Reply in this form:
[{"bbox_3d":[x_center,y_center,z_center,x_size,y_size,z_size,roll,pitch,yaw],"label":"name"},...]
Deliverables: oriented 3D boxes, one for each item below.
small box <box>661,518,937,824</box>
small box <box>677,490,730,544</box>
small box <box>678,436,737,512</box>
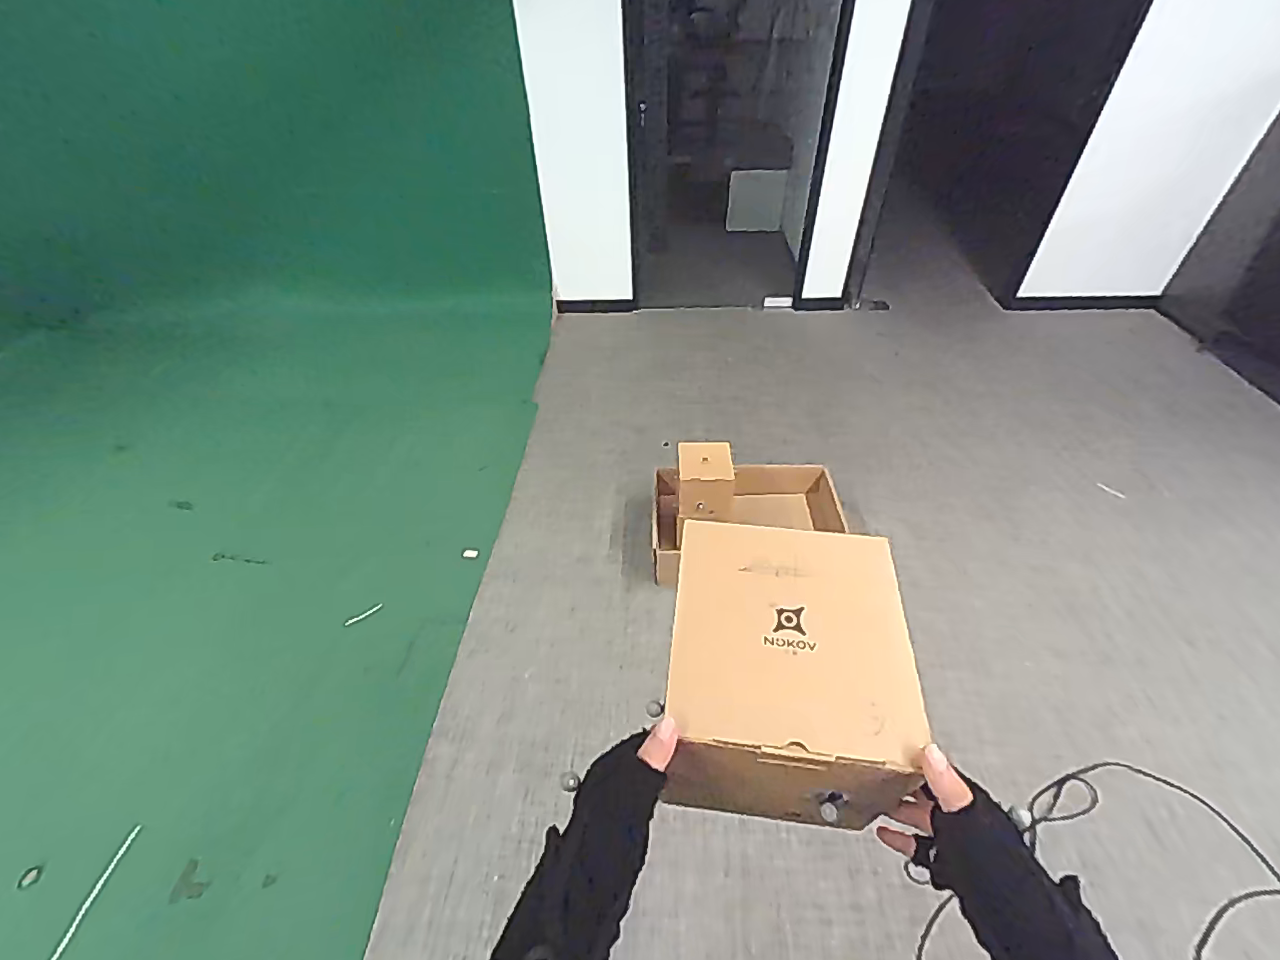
[{"bbox_3d":[0.109,0.156,0.438,0.168,0.176,0.179,6,48,6],"label":"small box"},{"bbox_3d":[0.210,0.099,1.823,0.168,0.176,0.179,1,43,3],"label":"small box"},{"bbox_3d":[0.207,-0.021,1.713,0.168,0.176,0.179,1,43,1],"label":"small box"}]
